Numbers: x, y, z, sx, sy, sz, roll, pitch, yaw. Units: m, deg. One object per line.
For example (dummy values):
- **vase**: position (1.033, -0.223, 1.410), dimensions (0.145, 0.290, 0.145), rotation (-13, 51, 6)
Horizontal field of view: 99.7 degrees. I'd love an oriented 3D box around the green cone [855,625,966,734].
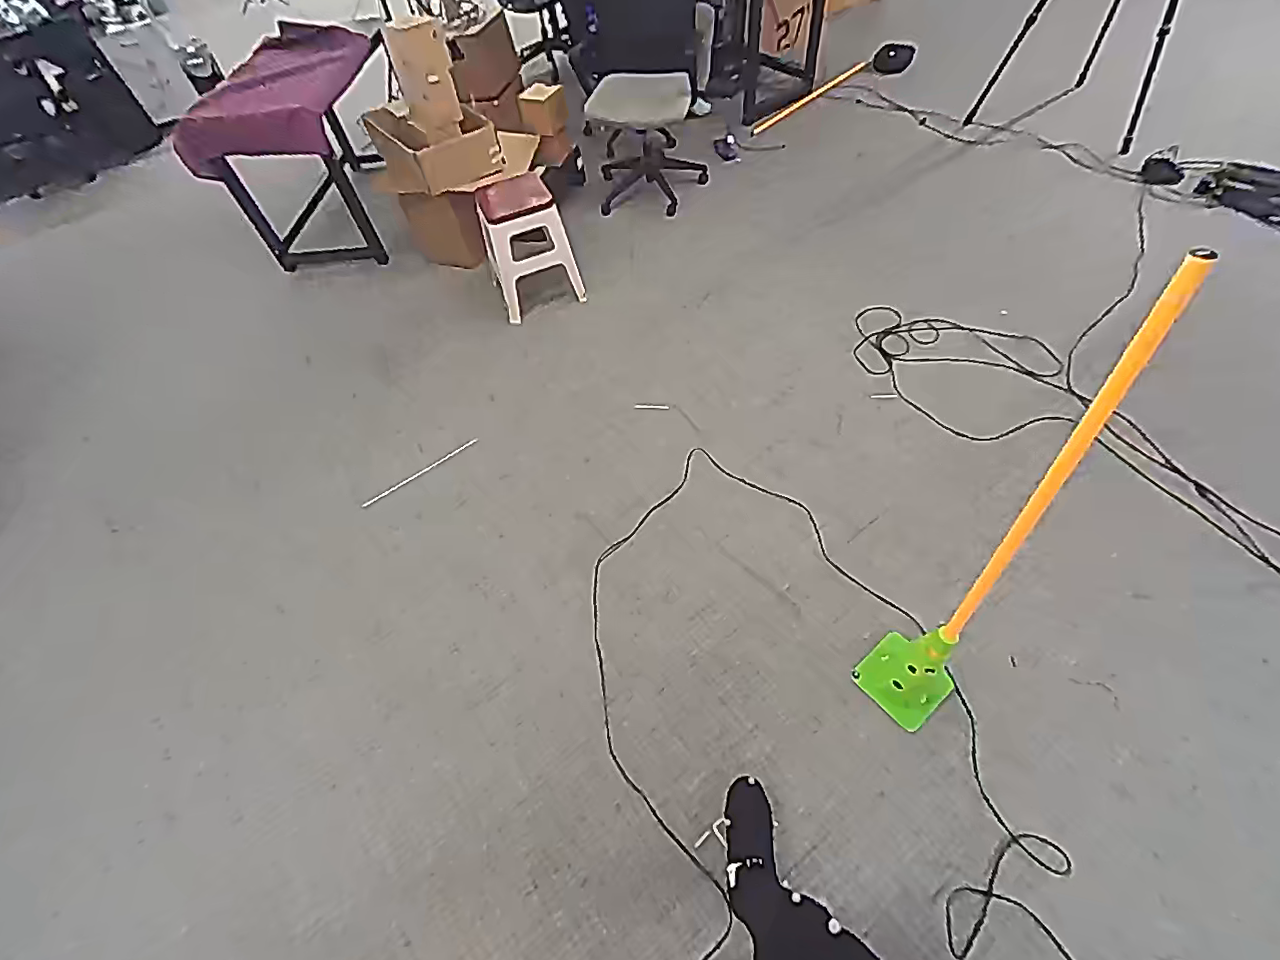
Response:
- **green cone**: position (0.697, 0.442, 1.309), dimensions (0.202, 0.368, 0.200), rotation (-36, 59, -19)
